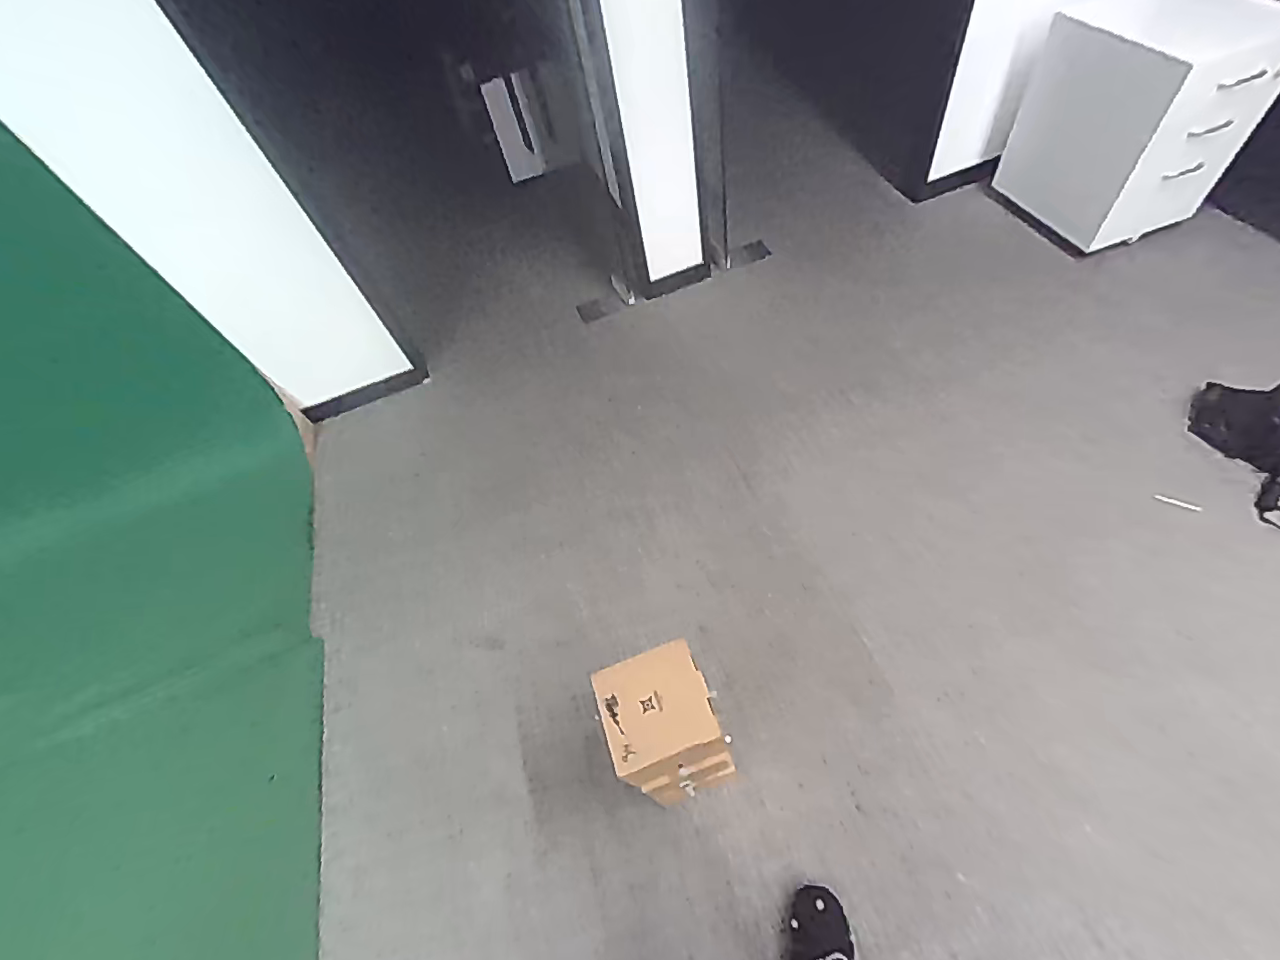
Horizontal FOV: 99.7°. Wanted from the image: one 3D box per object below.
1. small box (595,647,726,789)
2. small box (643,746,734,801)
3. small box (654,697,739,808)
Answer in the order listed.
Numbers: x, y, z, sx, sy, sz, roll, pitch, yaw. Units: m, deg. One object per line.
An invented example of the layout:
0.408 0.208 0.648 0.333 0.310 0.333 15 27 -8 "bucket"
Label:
0.042 0.415 0.935 0.179 0.176 0.168 -21 54 0 "small box"
0.076 0.509 1.065 0.168 0.176 0.179 -22 56 0 "small box"
0.109 0.604 1.191 0.179 0.176 0.168 -19 55 -1 "small box"
